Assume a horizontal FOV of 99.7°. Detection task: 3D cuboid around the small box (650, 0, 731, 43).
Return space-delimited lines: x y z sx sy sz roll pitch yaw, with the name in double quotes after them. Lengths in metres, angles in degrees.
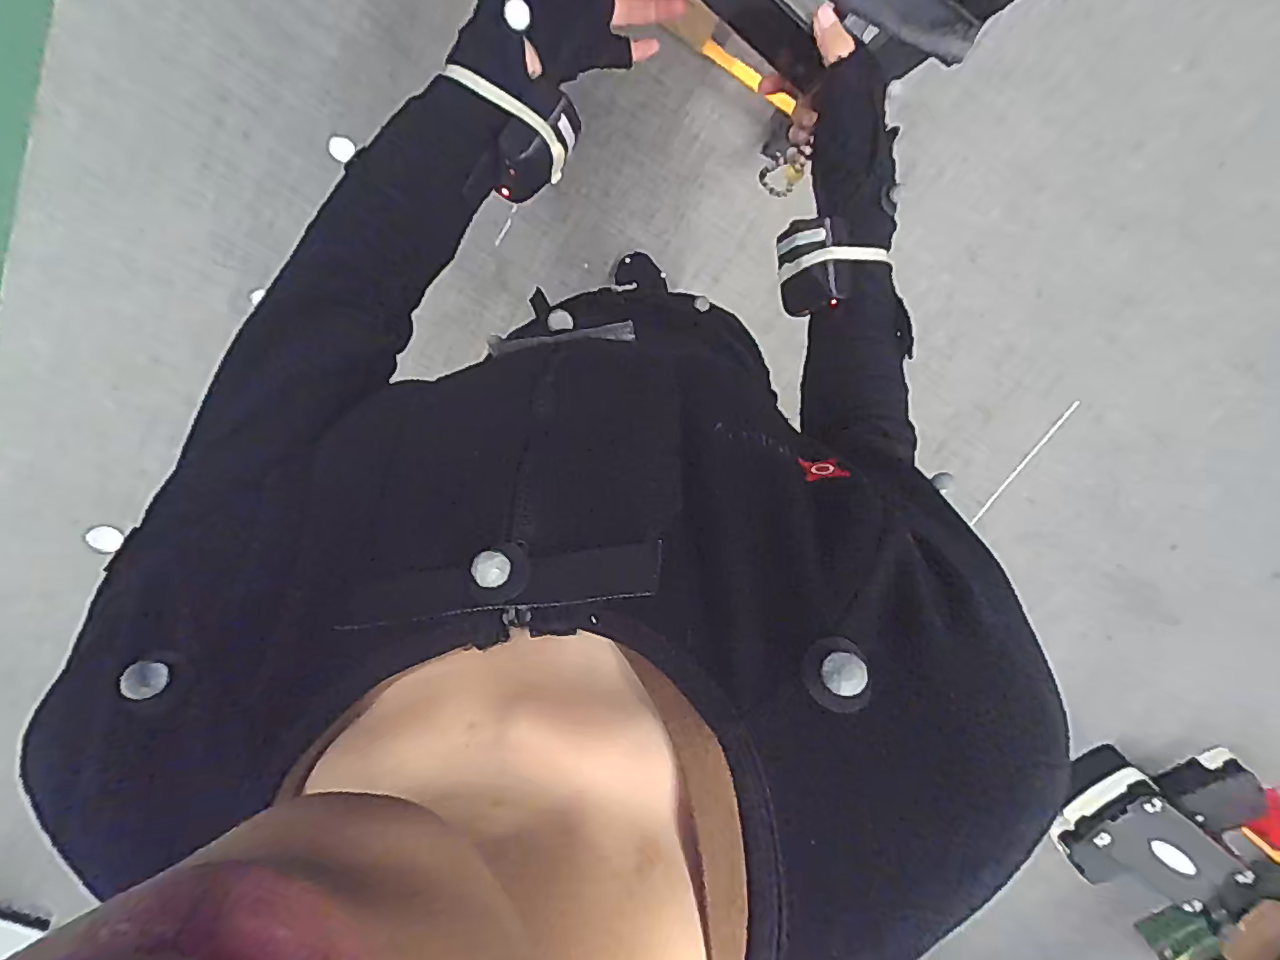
0.105 -0.938 0.960 0.168 0.176 0.179 32 108 -12 "small box"
